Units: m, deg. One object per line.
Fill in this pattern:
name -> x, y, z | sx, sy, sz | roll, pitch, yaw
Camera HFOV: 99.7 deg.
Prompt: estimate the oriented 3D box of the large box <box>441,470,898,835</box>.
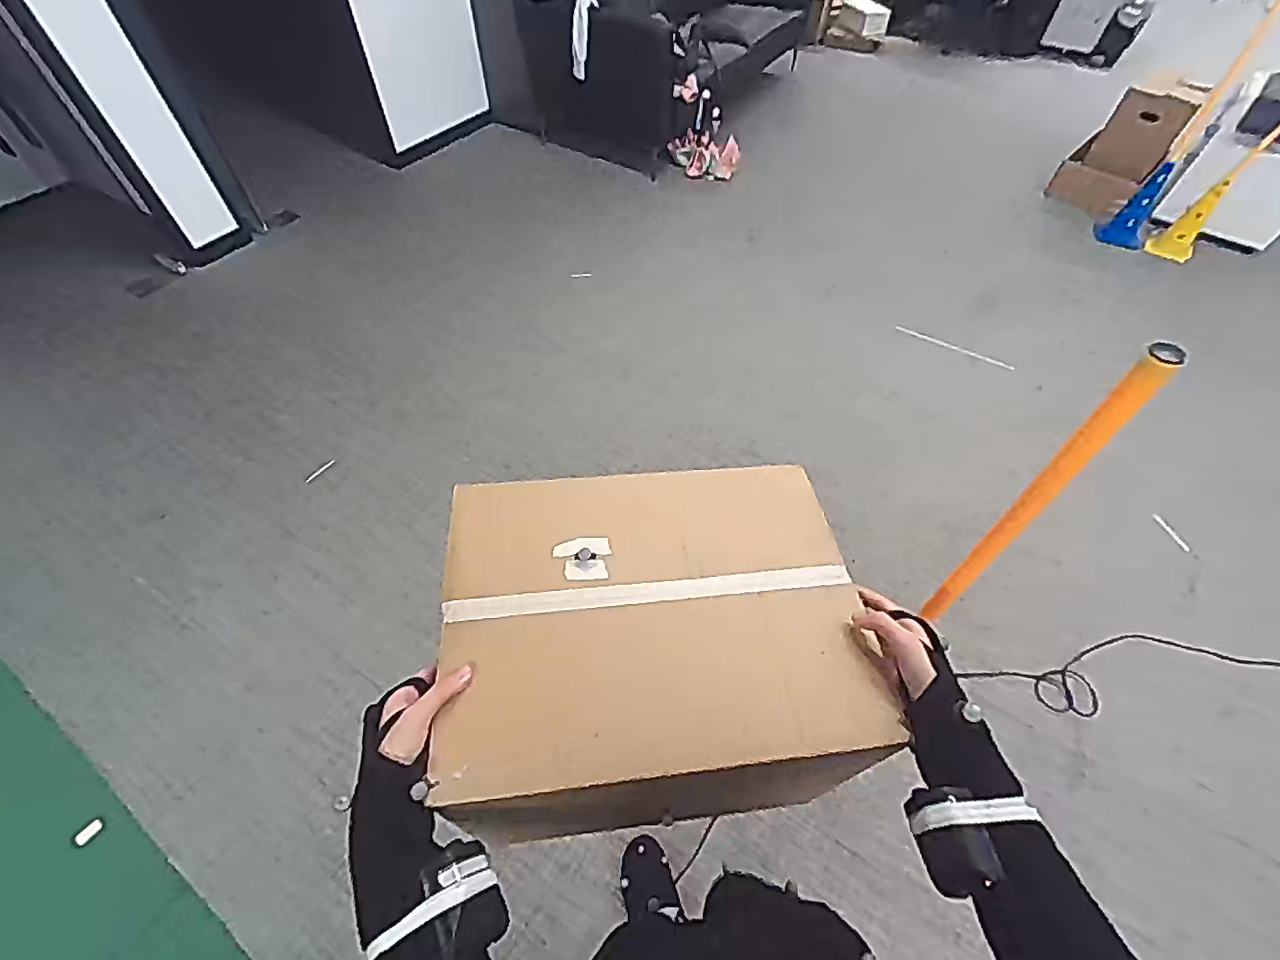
large box -> 0.010, 0.214, 0.660 | 0.408, 0.320, 0.320 | -4, 52, -7
